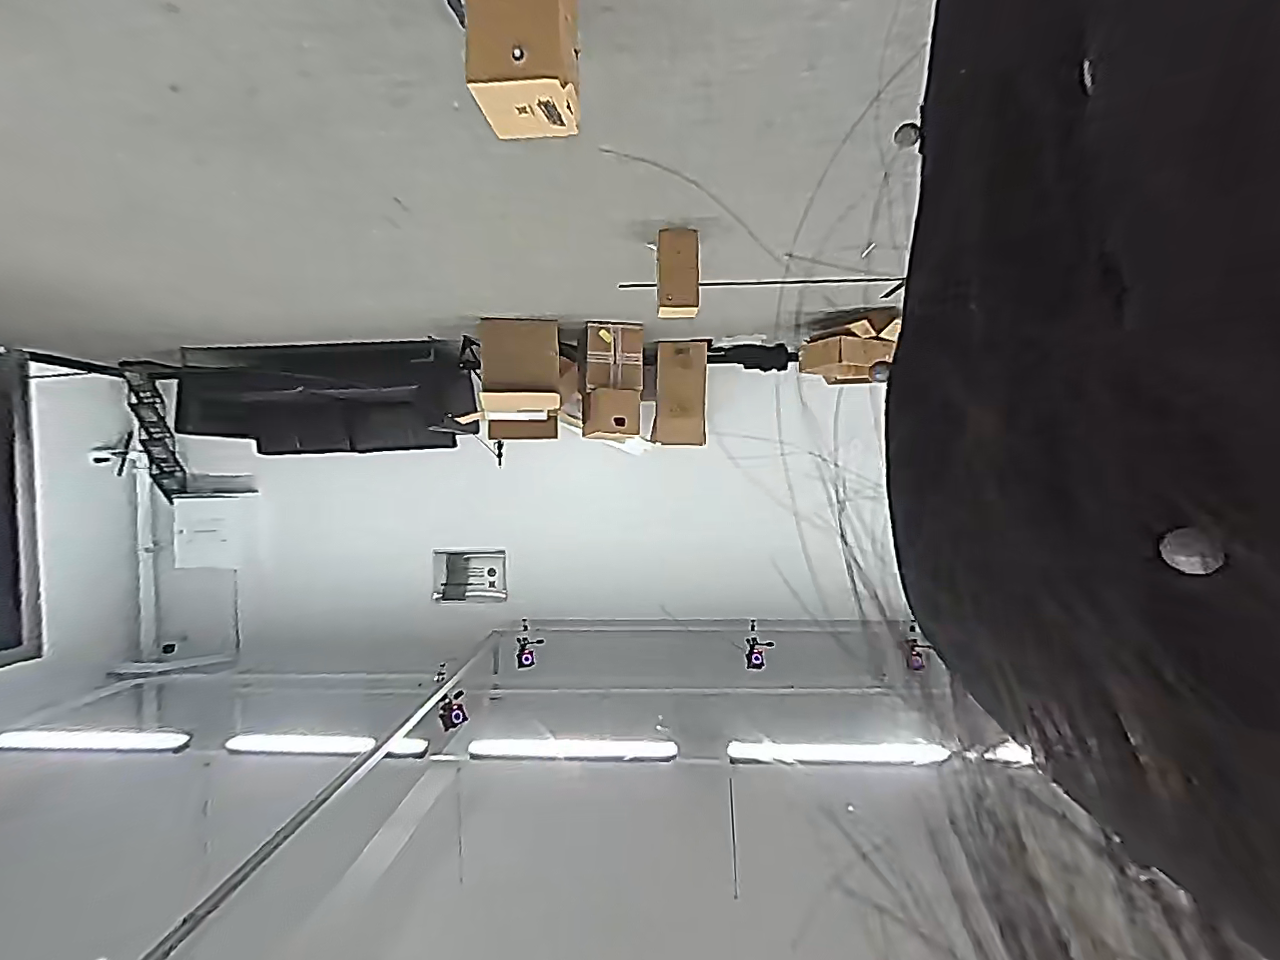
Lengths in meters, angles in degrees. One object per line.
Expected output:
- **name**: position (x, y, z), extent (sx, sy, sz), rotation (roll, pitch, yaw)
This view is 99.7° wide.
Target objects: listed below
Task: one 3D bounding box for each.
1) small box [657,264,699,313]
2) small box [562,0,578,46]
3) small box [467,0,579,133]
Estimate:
- **small box**: position (0.165, -0.850, 2.402), extent (0.179, 0.176, 0.168), rotation (-1, -177, -1)
- **small box**: position (-0.222, -0.969, 1.035), extent (0.179, 0.176, 0.168), rotation (1, -179, 7)
- **small box**: position (-0.221, -0.804, 1.035), extent (0.179, 0.176, 0.168), rotation (0, -179, 6)
